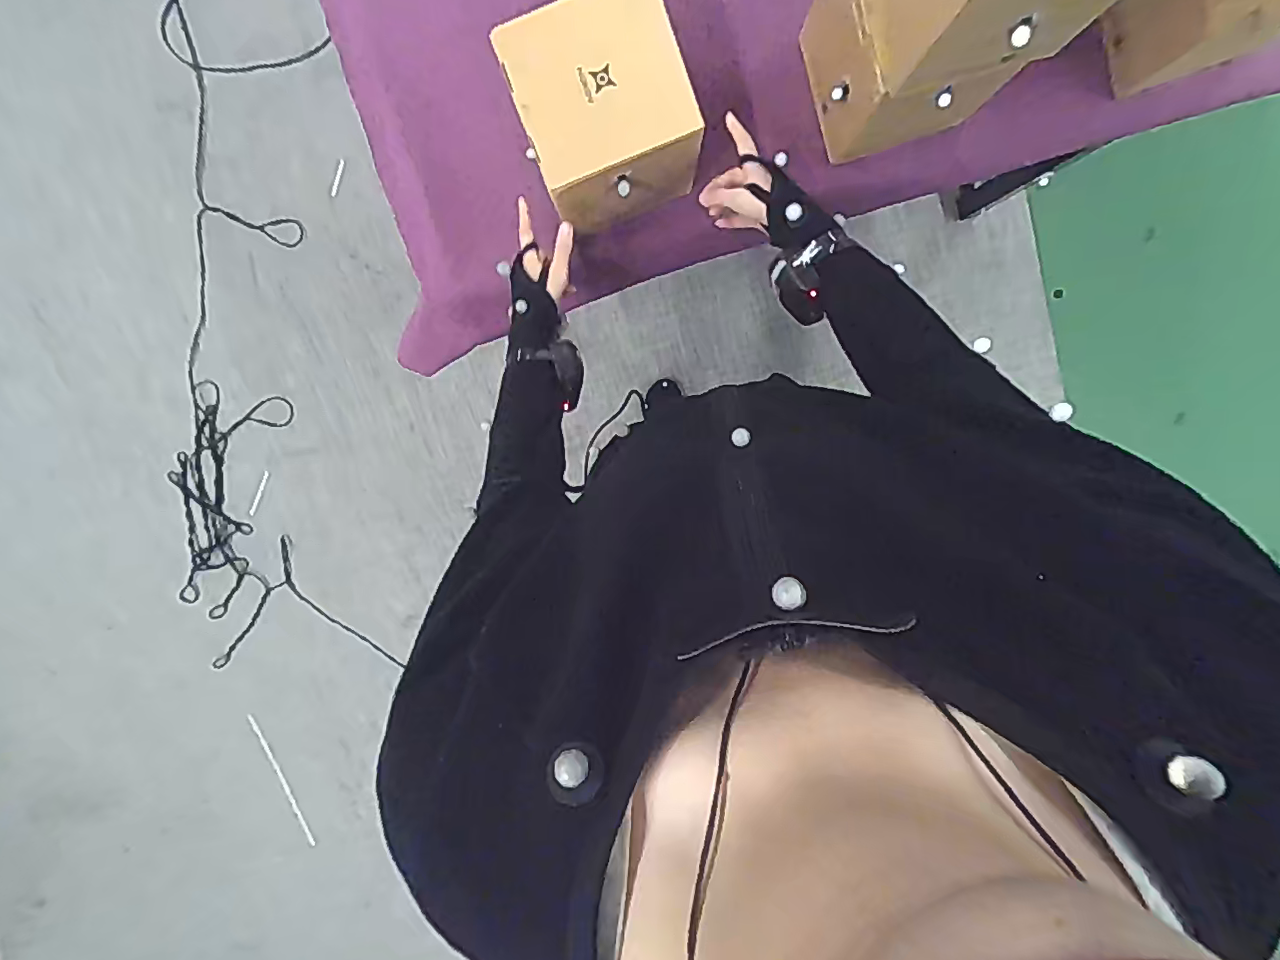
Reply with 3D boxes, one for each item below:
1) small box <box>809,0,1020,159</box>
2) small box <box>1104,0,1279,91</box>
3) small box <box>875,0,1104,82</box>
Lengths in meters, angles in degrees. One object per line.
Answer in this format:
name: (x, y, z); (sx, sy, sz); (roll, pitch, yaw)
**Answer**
small box: (0.306, -0.501, 0.612); (0.179, 0.176, 0.168); (-16, 97, 3)
small box: (0.657, -0.575, 0.590); (0.179, 0.176, 0.168); (-18, 98, 4)
small box: (0.309, -0.474, 0.450); (0.168, 0.176, 0.179); (-13, 98, 3)
